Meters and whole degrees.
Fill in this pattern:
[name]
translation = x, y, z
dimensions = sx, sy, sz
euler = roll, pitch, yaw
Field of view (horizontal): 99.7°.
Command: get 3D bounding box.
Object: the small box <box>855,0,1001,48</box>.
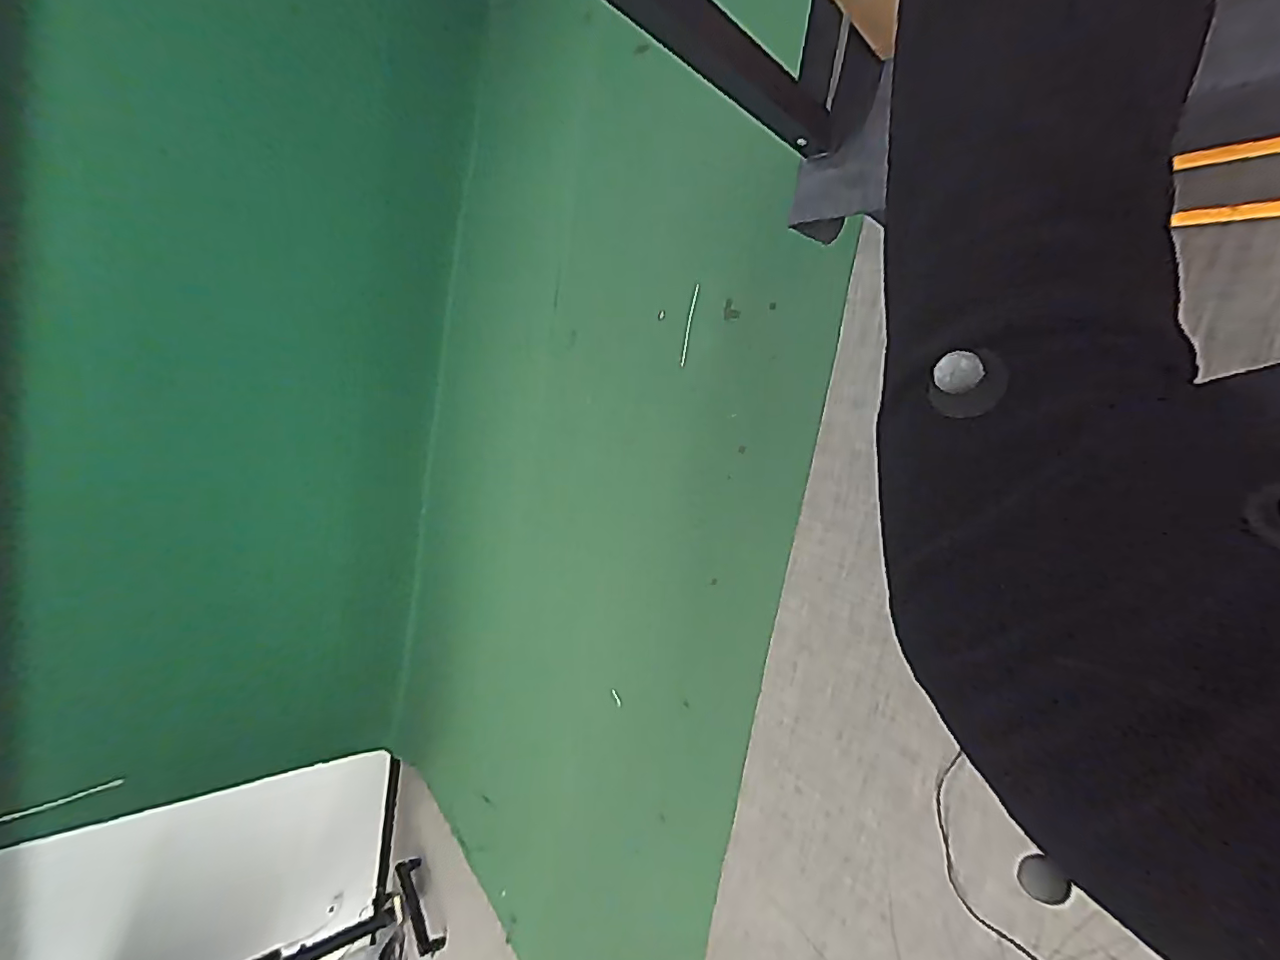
[small box]
translation = 0.381, -0.727, 0.706
dimensions = 0.168, 0.176, 0.179
euler = 17, 101, 47
